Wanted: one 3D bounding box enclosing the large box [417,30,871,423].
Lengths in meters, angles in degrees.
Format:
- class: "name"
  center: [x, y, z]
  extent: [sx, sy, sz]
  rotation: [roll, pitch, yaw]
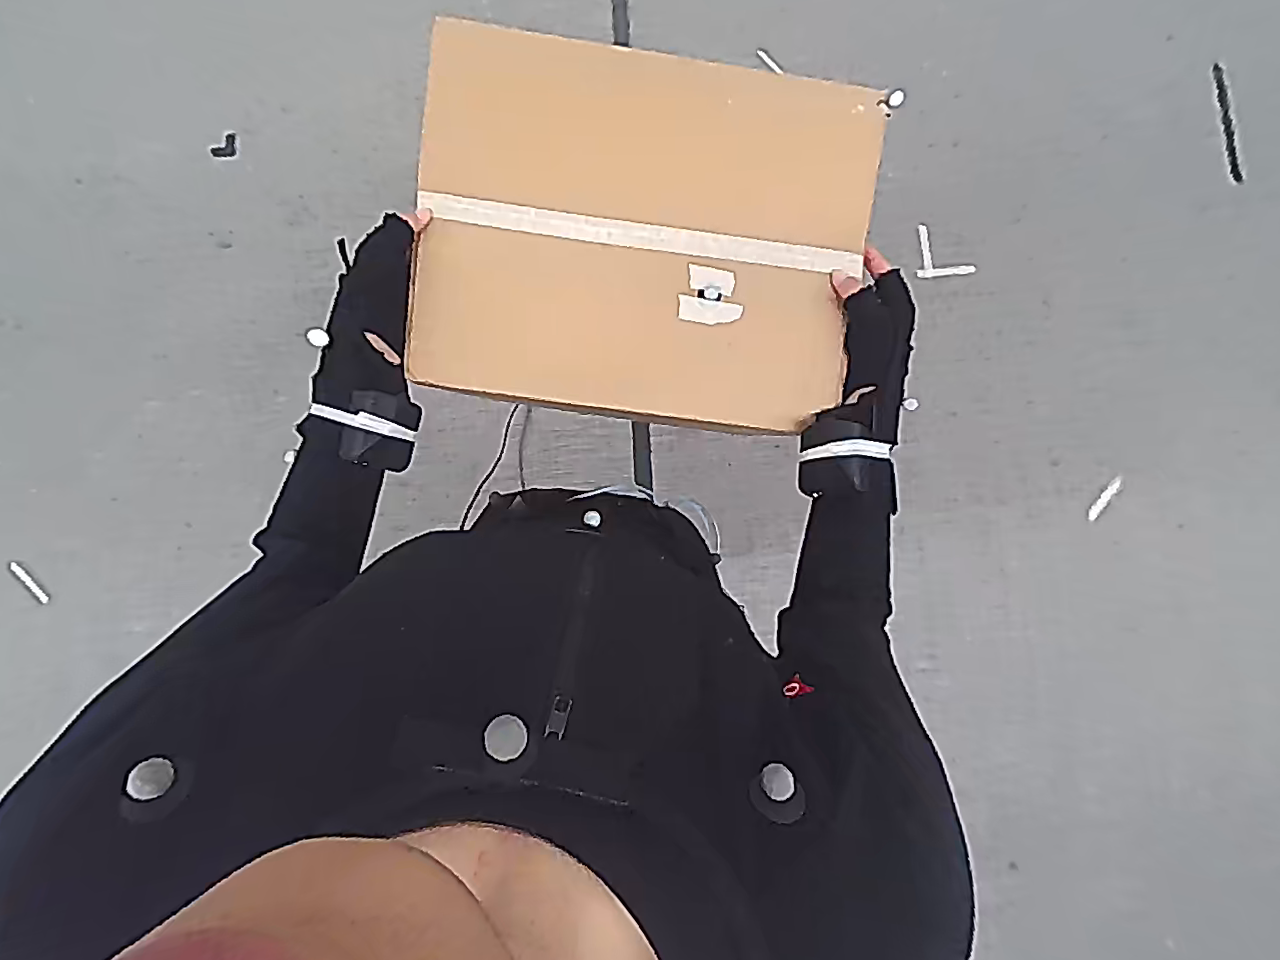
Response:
- class: "large box"
  center: [-0.006, -0.243, 0.649]
  extent: [0.408, 0.320, 0.320]
  rotation: [7, 96, -3]
